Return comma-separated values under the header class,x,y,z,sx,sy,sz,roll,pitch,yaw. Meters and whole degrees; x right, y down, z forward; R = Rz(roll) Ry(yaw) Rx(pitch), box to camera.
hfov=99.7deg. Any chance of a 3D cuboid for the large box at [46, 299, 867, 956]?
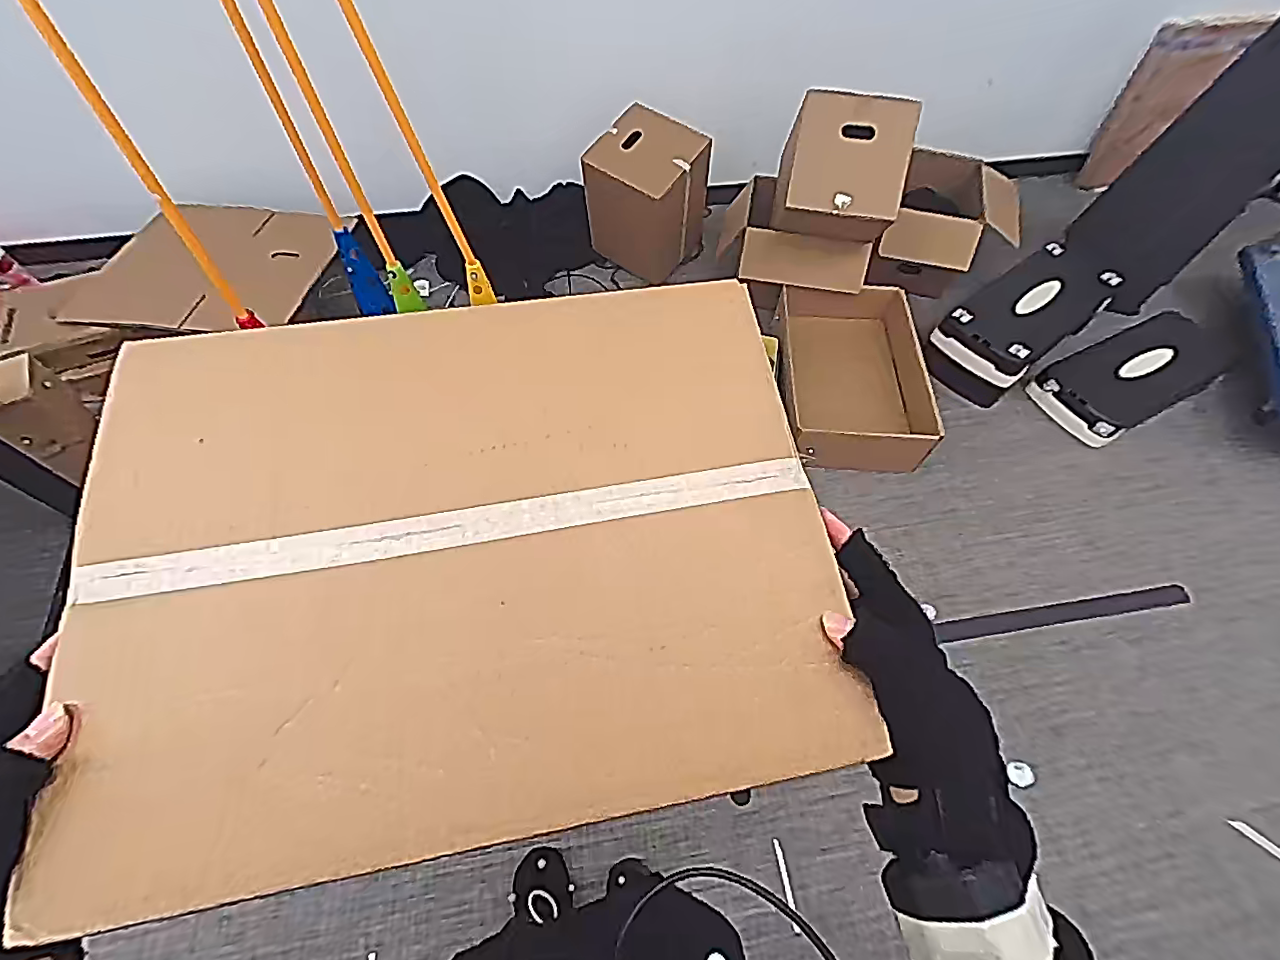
class,x,y,z,sx,sy,sz,roll,pitch,yaw
large box,-0.105,0.093,0.453,0.408,0.320,0.320,-9,68,-7
